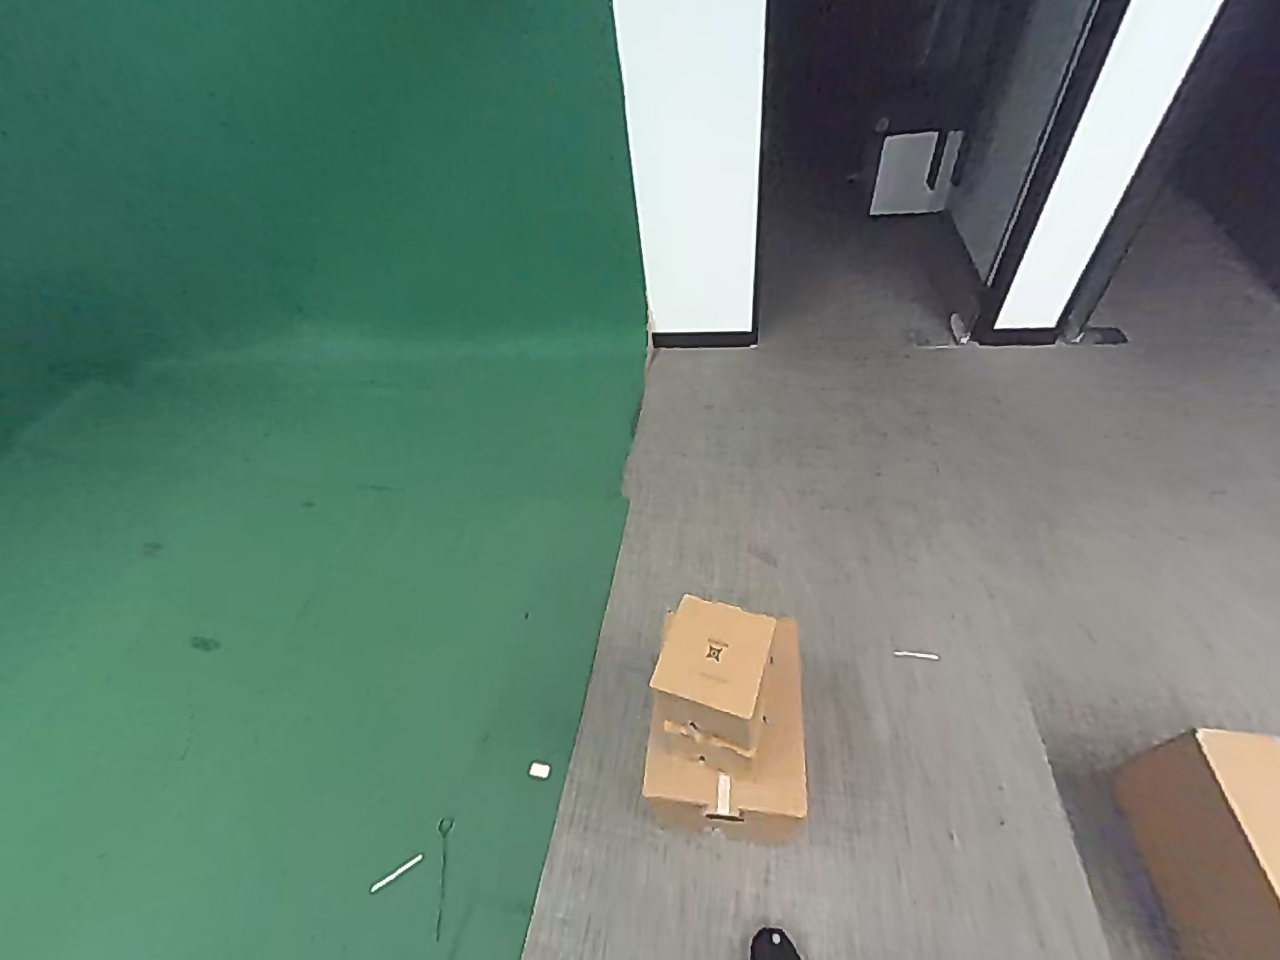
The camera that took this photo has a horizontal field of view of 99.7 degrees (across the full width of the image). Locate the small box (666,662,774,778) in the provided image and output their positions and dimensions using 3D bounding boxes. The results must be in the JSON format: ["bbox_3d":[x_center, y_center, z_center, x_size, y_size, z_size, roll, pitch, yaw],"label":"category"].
[{"bbox_3d":[0.158,0.443,1.047,0.168,0.176,0.179,10,51,18],"label":"small box"}]

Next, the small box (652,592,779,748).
[{"bbox_3d":[0.134,0.328,0.934,0.168,0.176,0.179,12,53,21],"label":"small box"}]

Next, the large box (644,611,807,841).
[{"bbox_3d":[0.200,0.566,1.259,0.320,0.320,0.408,1,48,10],"label":"large box"}]
